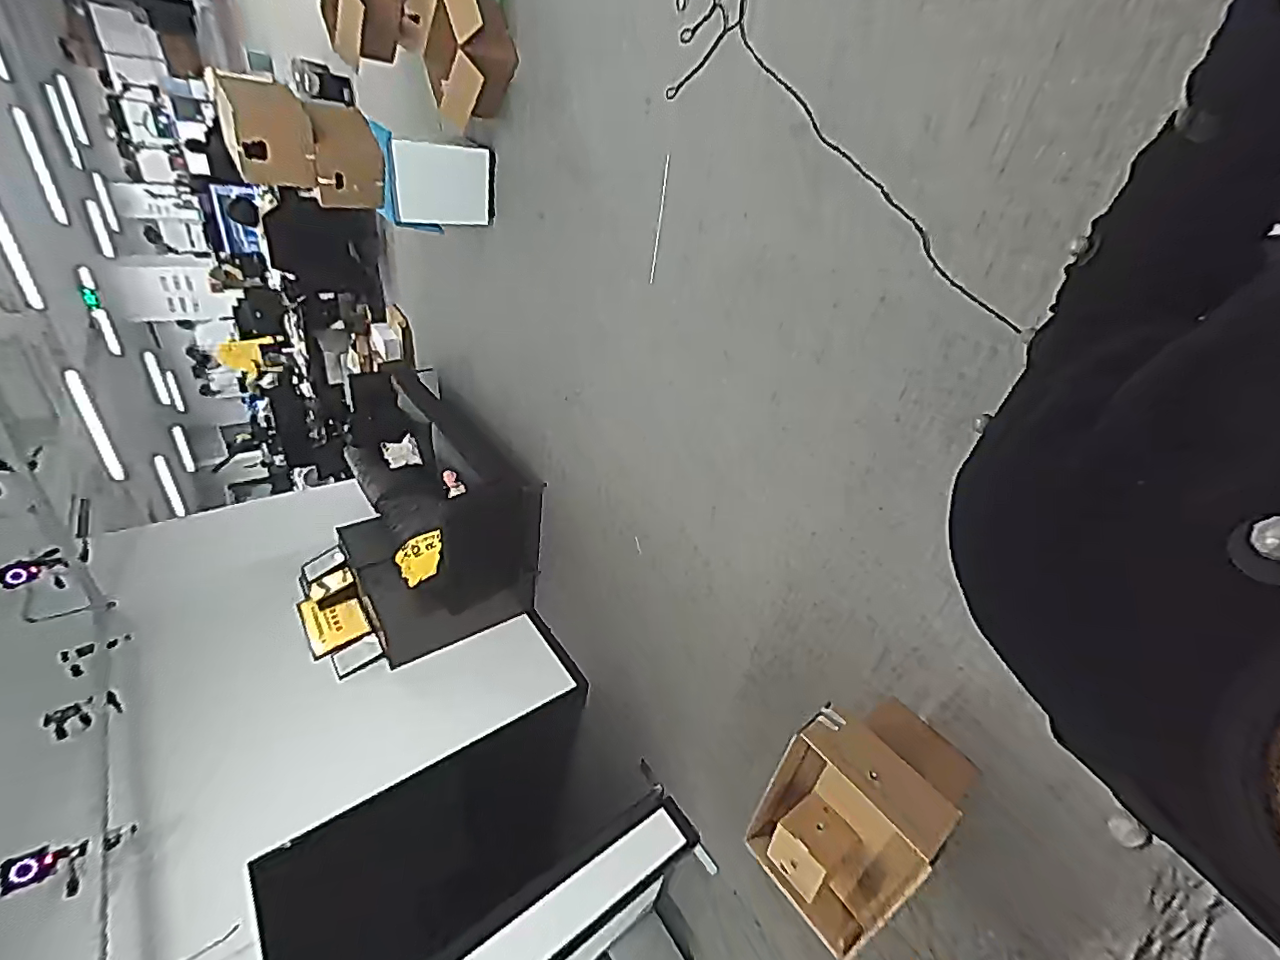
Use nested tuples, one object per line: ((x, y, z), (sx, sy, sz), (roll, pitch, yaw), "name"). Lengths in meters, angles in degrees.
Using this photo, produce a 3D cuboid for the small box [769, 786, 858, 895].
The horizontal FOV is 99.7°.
((0.514, 1.053, 1.594), (0.168, 0.176, 0.179), (36, 129, 42), "small box")
